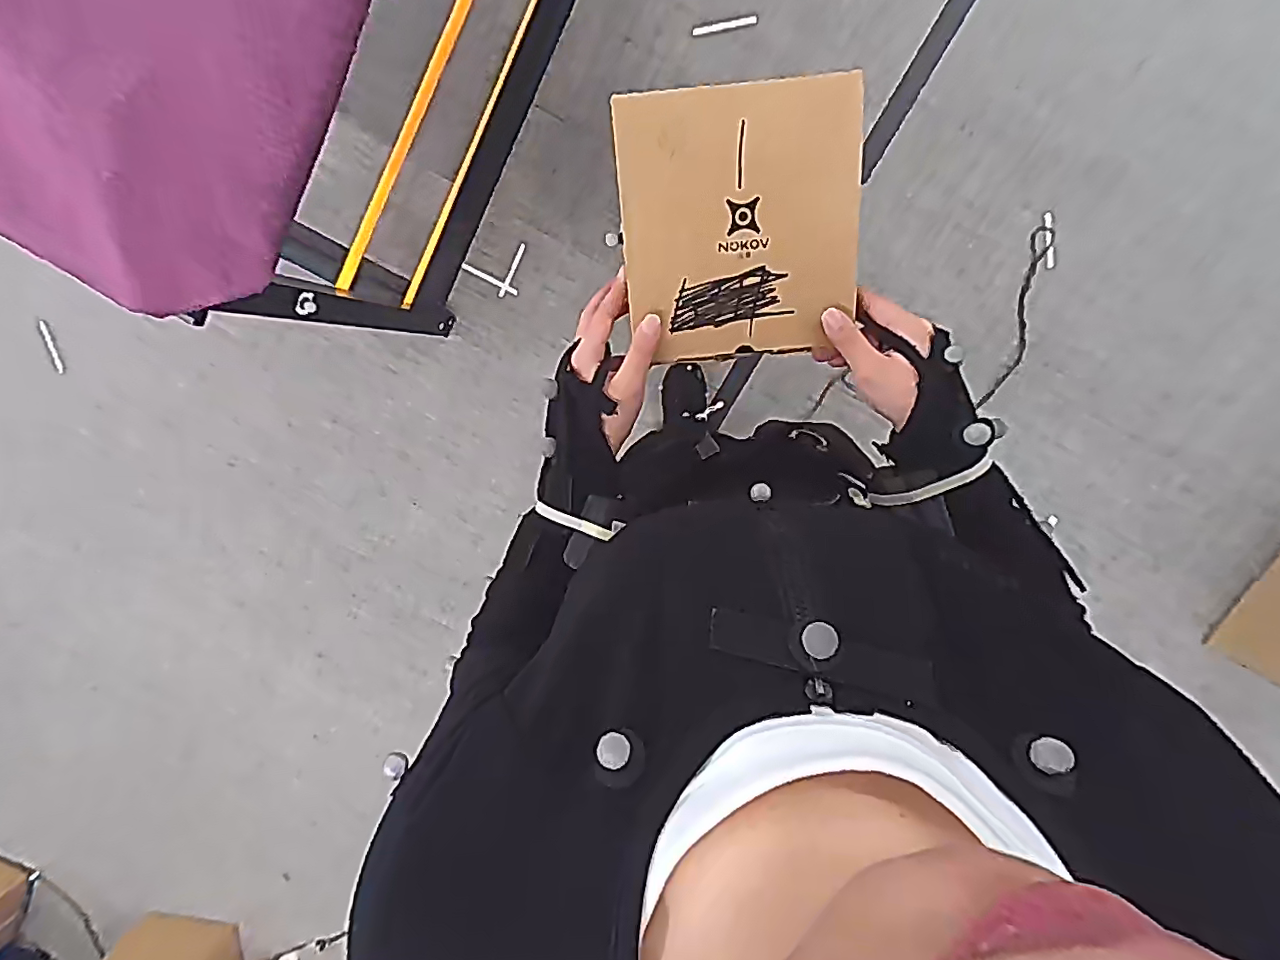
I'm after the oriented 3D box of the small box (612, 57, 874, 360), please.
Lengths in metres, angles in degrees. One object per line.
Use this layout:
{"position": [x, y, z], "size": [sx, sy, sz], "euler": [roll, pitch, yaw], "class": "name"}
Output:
{"position": [0.069, -0.201, 0.439], "size": [0.168, 0.176, 0.179], "euler": [-5, 109, 0], "class": "small box"}
